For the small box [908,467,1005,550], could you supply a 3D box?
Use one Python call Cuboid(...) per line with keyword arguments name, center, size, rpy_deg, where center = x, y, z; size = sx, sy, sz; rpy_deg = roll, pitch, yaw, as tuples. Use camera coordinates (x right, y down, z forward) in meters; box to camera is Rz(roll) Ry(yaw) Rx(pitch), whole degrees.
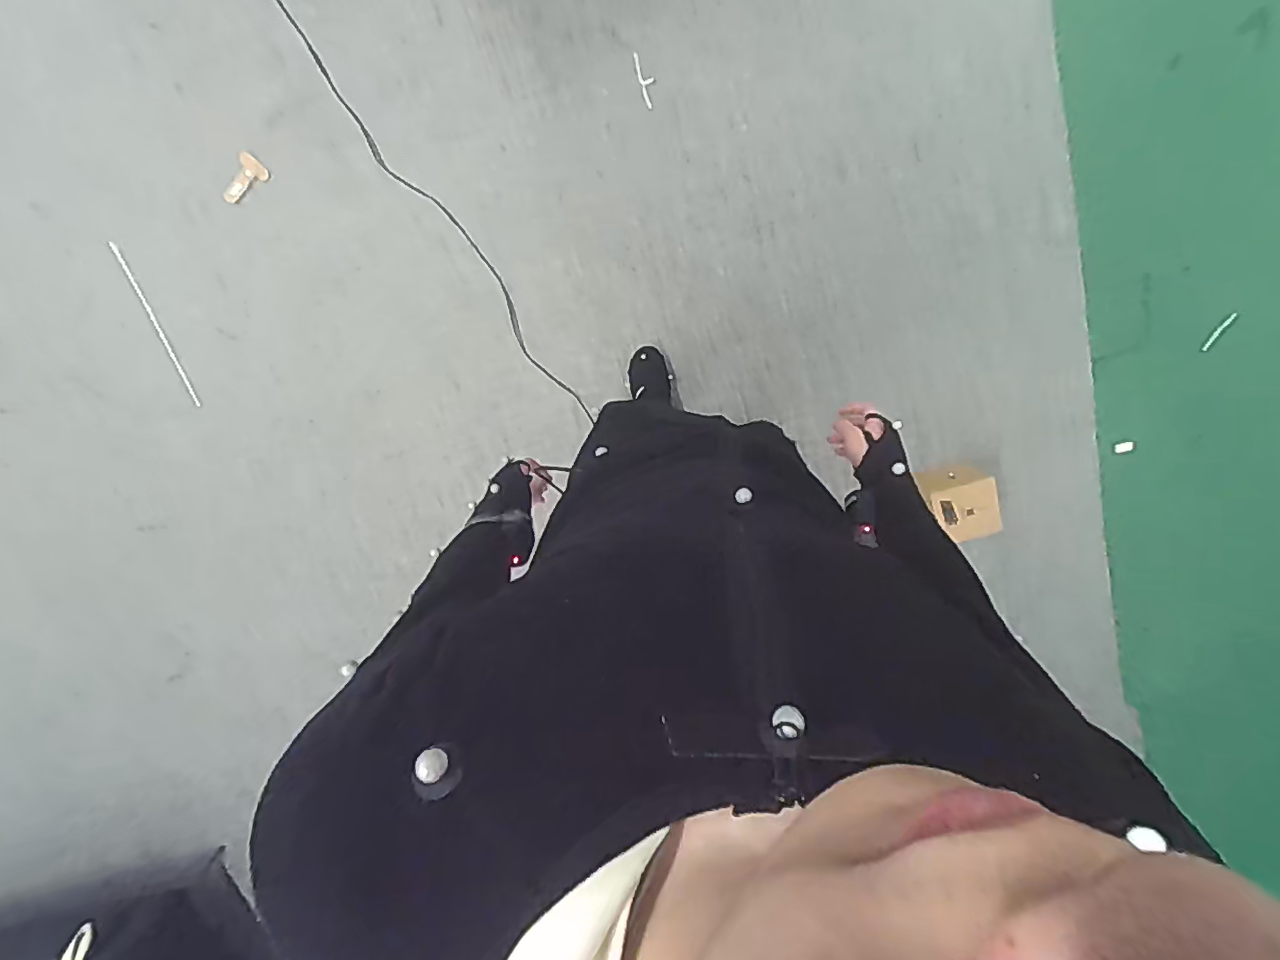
Cuboid(name="small box", center=(0.888, 0.076, 1.536), size=(0.179, 0.176, 0.168), rpy_deg=(-17, 104, 4))
